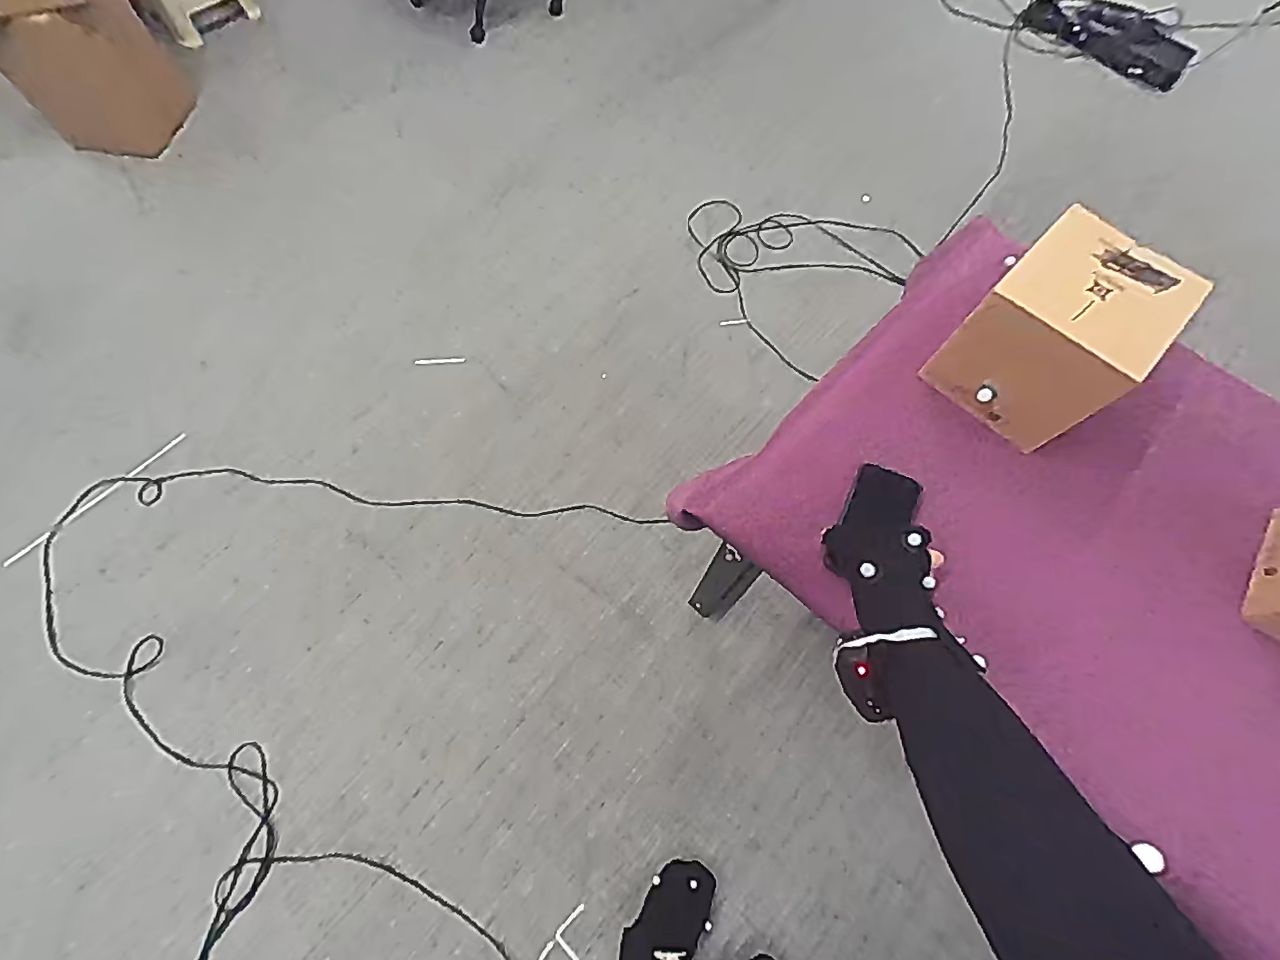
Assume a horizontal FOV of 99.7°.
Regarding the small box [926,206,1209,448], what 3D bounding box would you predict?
[{"bbox_3d":[0.482,-0.172,0.640,0.179,0.176,0.168,-43,74,-15],"label":"small box"}]
